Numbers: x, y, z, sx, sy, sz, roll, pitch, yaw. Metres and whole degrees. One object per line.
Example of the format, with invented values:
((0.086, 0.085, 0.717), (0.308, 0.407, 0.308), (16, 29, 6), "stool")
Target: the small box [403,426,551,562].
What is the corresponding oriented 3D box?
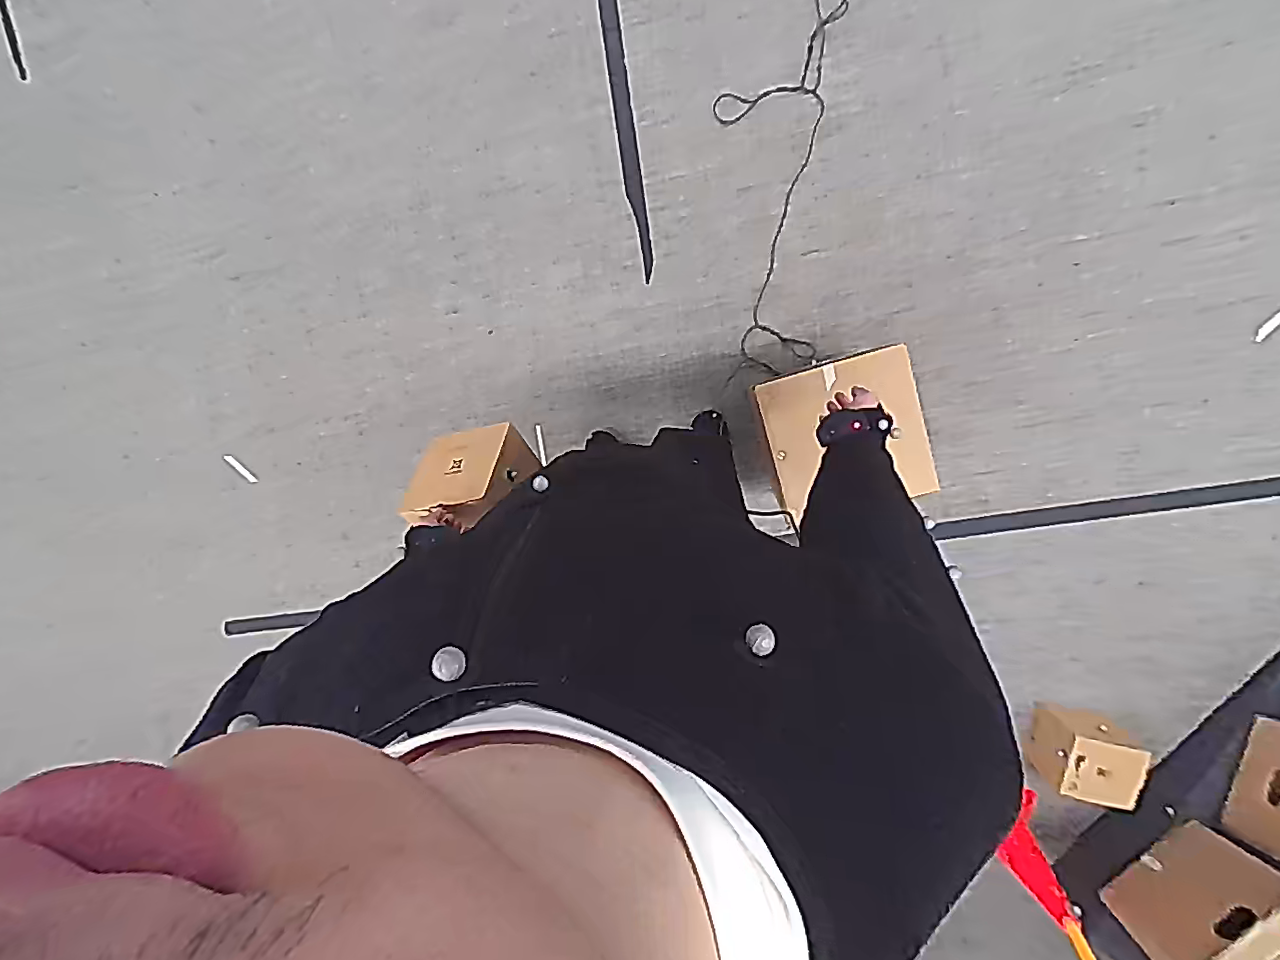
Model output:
((-0.277, 0.034, 0.964), (0.168, 0.179, 0.176), (-9, 137, 19), "small box")
